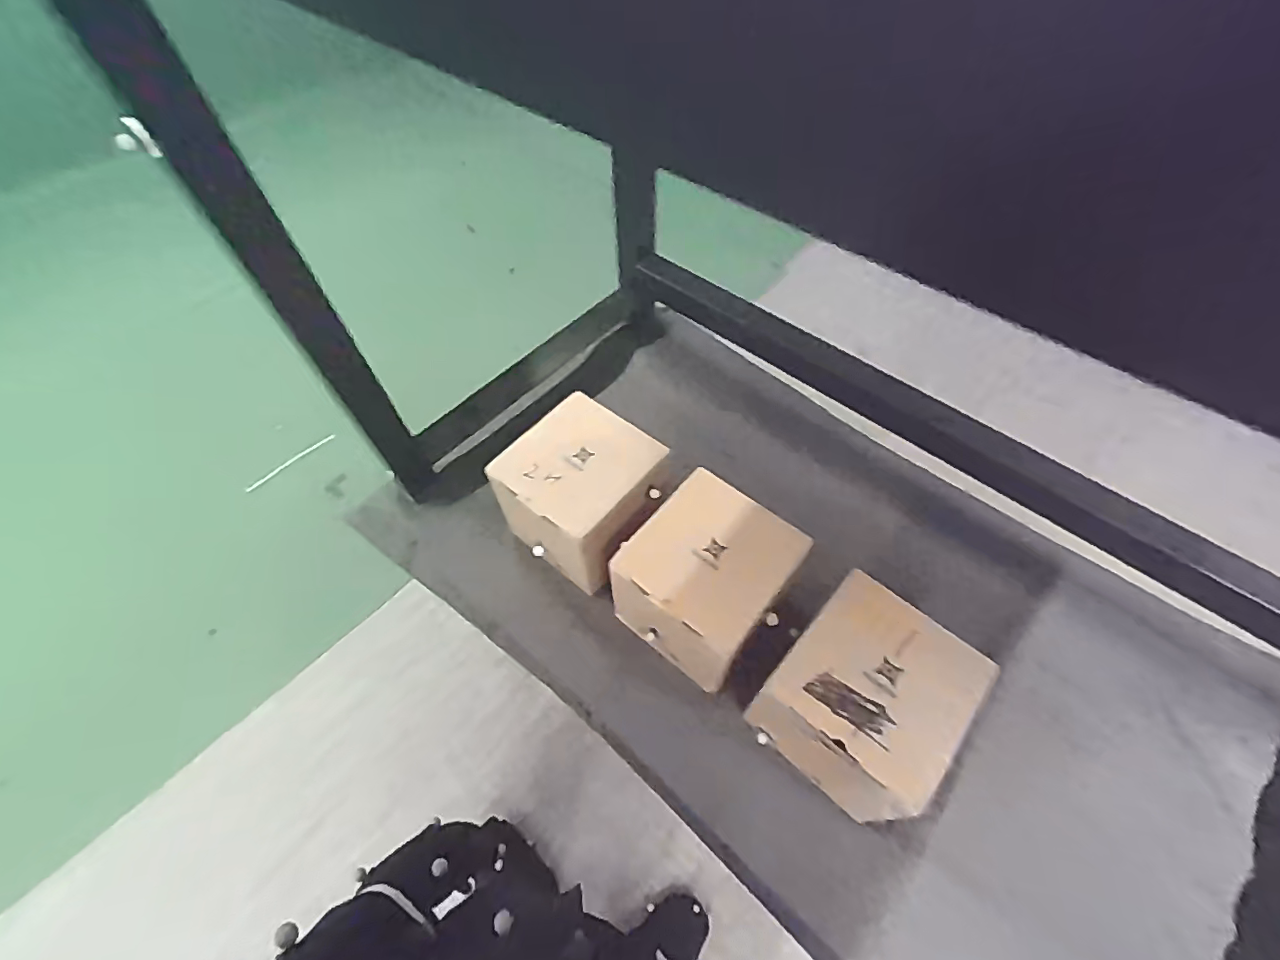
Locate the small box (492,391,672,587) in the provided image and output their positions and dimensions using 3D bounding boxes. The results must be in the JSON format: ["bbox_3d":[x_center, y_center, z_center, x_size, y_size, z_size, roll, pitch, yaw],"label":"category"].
[{"bbox_3d":[-0.075,0.015,0.758,0.168,0.176,0.179,34,63,21],"label":"small box"}]
